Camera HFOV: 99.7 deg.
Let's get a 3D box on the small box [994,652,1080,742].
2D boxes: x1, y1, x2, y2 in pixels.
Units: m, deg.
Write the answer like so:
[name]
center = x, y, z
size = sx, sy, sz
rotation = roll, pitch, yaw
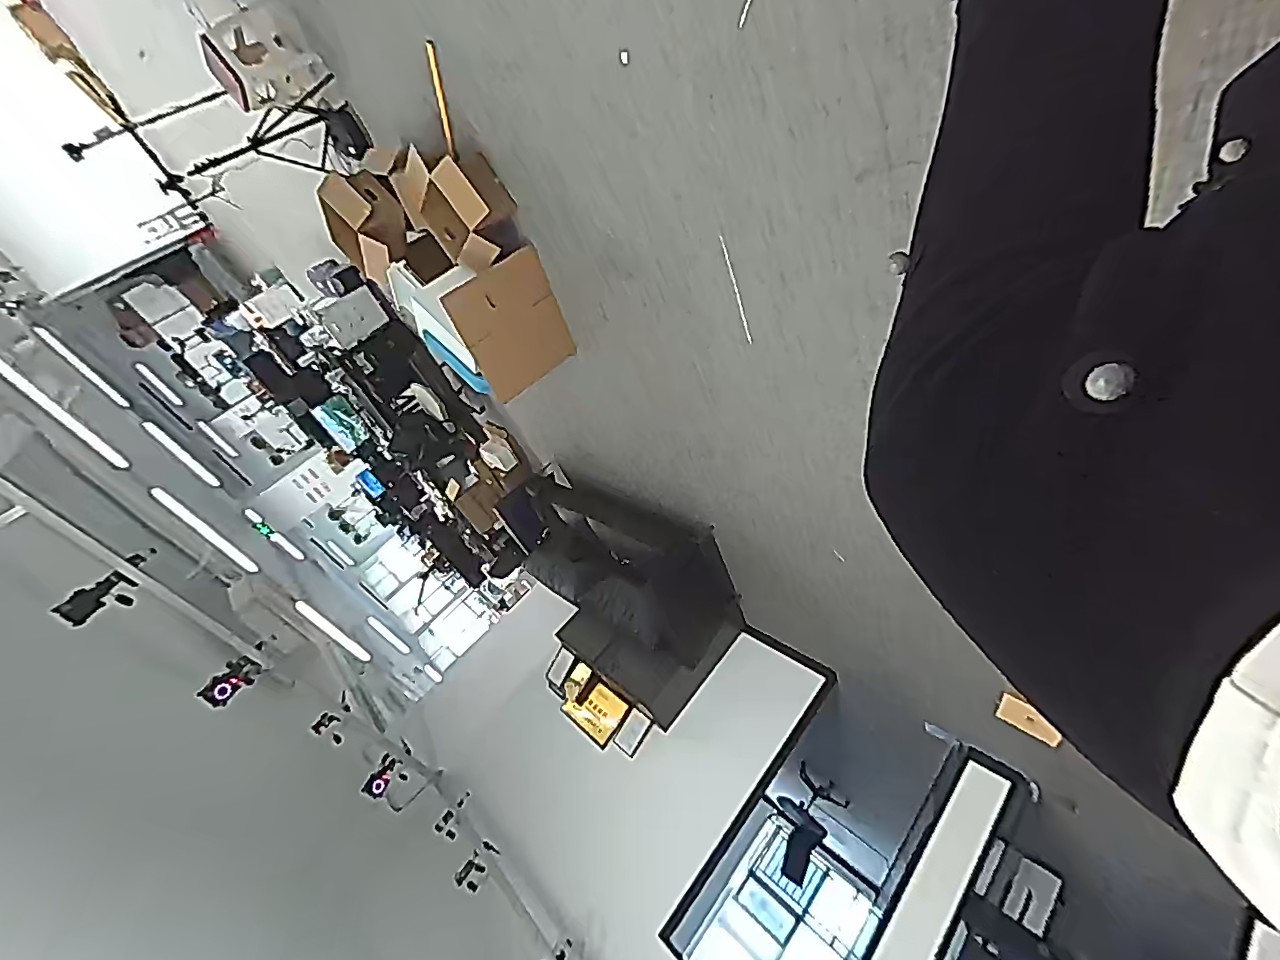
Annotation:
[small box]
center = 1.244, 0.674, 1.695
size = 0.168, 0.176, 0.179
rotation = 24, 149, 39
